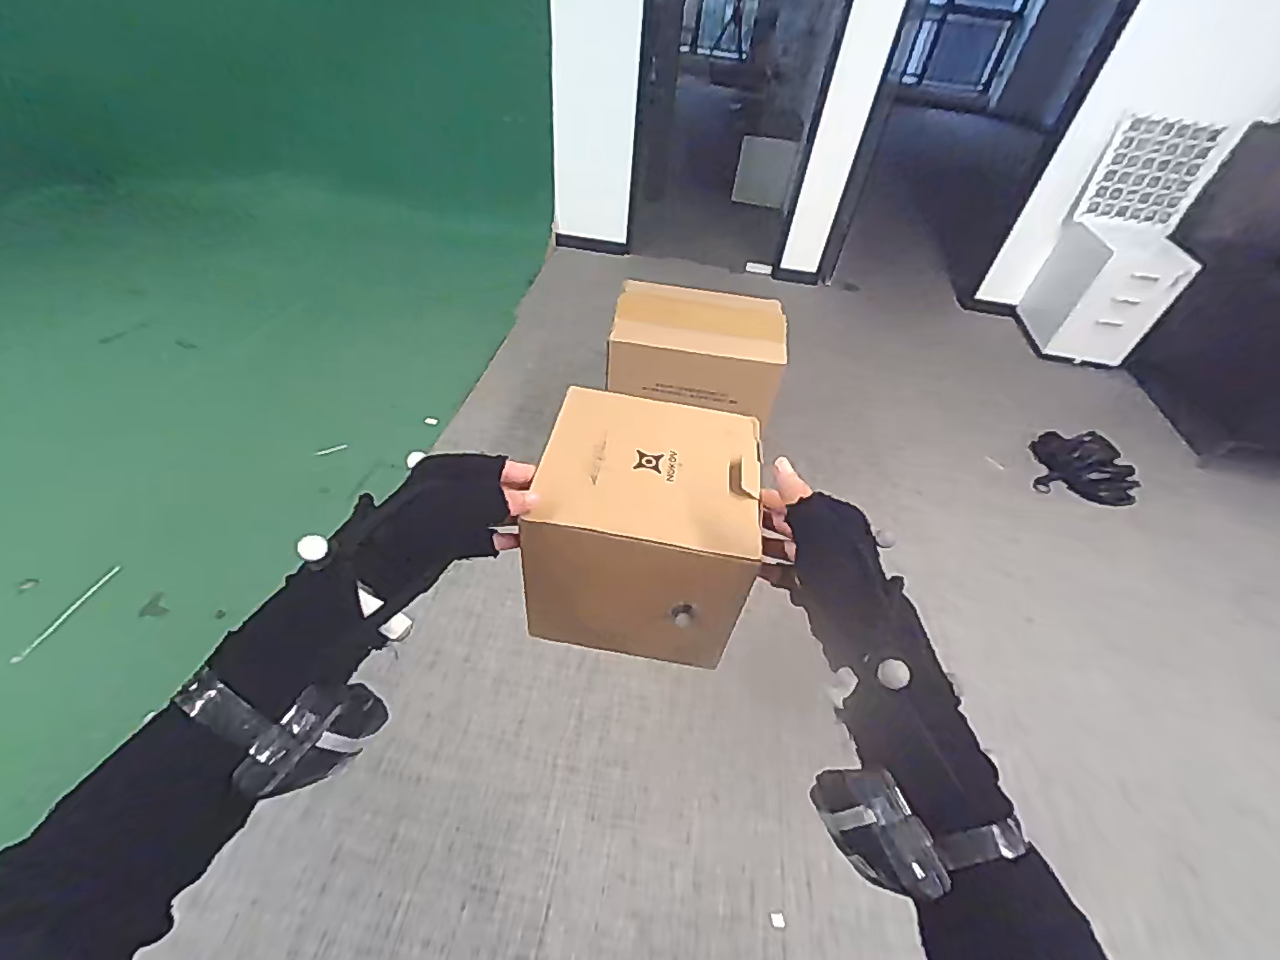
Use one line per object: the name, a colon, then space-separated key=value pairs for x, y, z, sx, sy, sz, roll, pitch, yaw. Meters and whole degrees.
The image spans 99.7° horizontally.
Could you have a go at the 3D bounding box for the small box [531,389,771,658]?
small box: x=0.009 y=0.043 z=0.495 sx=0.179 sy=0.176 sz=0.168 roll=9 pitch=44 yaw=1
